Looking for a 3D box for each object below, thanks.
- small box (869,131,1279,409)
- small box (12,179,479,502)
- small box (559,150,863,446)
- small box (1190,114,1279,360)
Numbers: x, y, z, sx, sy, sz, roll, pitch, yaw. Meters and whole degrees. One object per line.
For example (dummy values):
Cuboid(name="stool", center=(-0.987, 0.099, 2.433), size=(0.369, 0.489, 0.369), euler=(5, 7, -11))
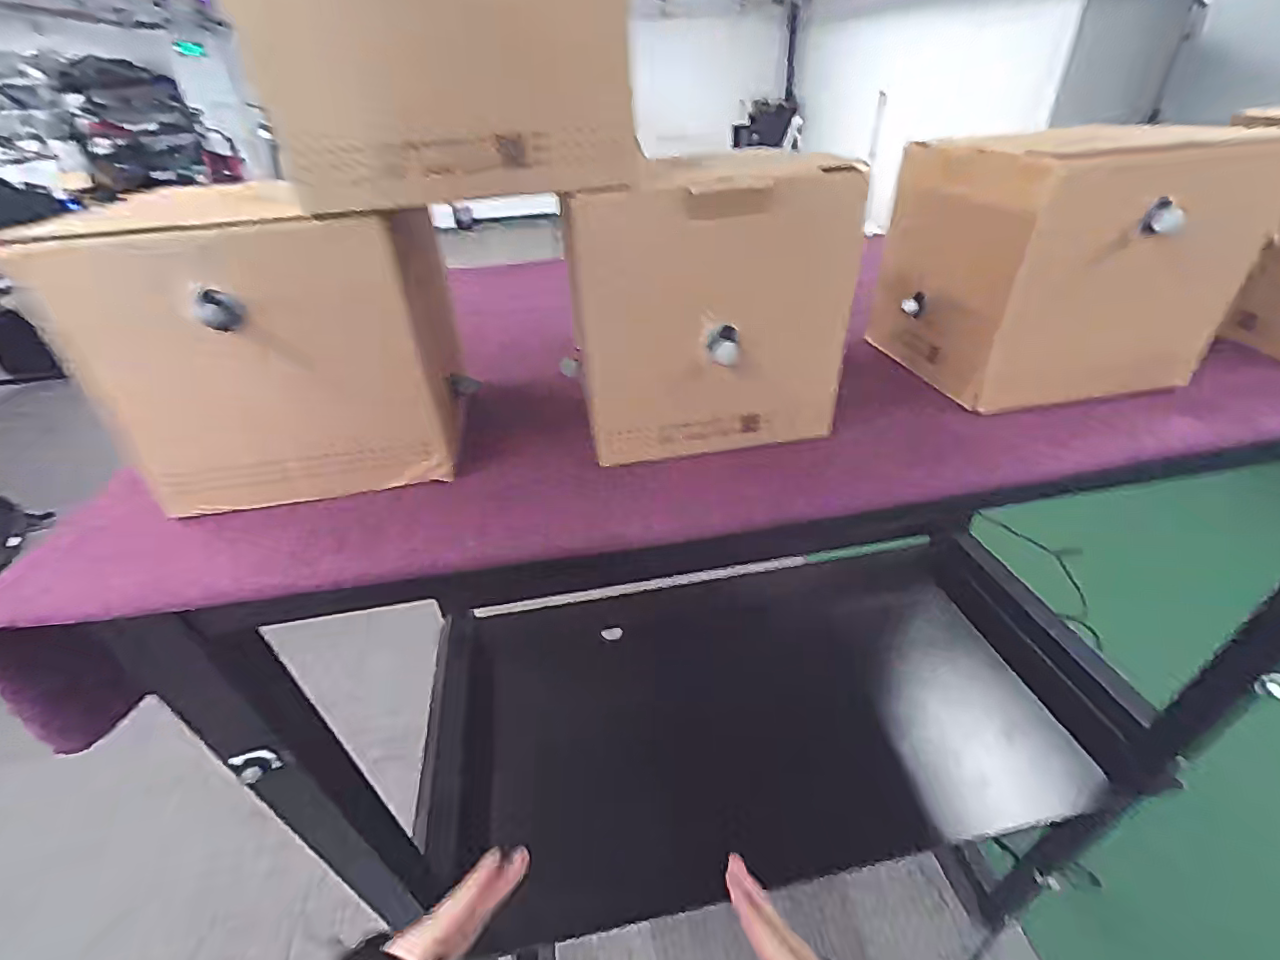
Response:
Cuboid(name="small box", center=(0.314, -0.173, 0.436), size=(0.179, 0.176, 0.168), euler=(-8, 34, -5))
Cuboid(name="small box", center=(-0.221, -0.100, 0.371), size=(0.179, 0.176, 0.168), euler=(-7, 35, -8))
Cuboid(name="small box", center=(0.036, -0.135, 0.402), size=(0.168, 0.176, 0.179), euler=(-8, 35, -7))
Cuboid(name="small box", center=(0.598, -0.210, 0.461), size=(0.179, 0.176, 0.168), euler=(-6, 36, -3))
